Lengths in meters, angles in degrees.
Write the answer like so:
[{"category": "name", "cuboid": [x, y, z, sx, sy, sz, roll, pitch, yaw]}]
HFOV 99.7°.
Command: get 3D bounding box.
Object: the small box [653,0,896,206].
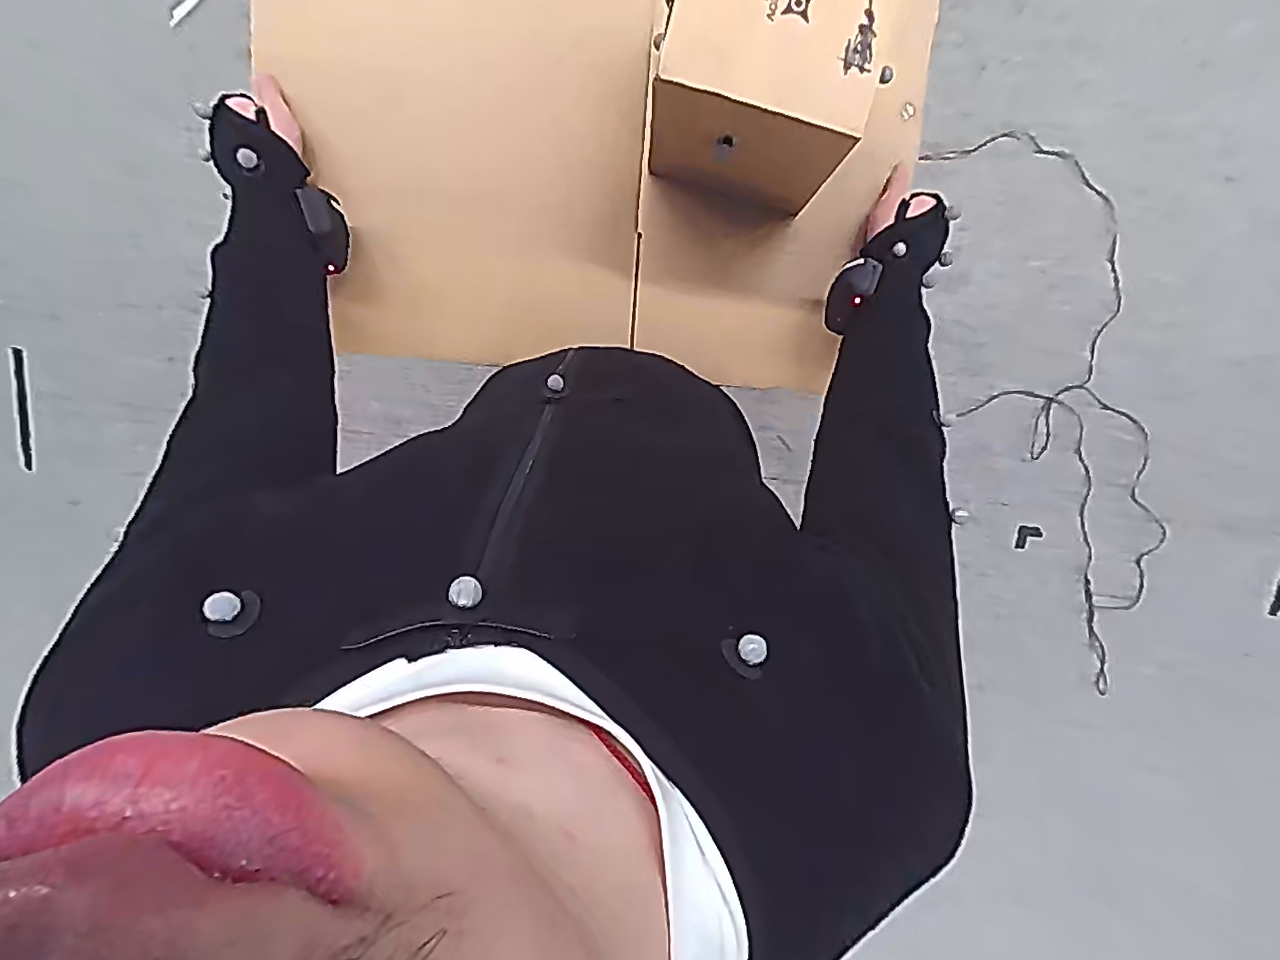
[{"category": "small box", "cuboid": [0.114, -0.387, 0.510, 0.179, 0.176, 0.168, 15, 97, -2]}]
